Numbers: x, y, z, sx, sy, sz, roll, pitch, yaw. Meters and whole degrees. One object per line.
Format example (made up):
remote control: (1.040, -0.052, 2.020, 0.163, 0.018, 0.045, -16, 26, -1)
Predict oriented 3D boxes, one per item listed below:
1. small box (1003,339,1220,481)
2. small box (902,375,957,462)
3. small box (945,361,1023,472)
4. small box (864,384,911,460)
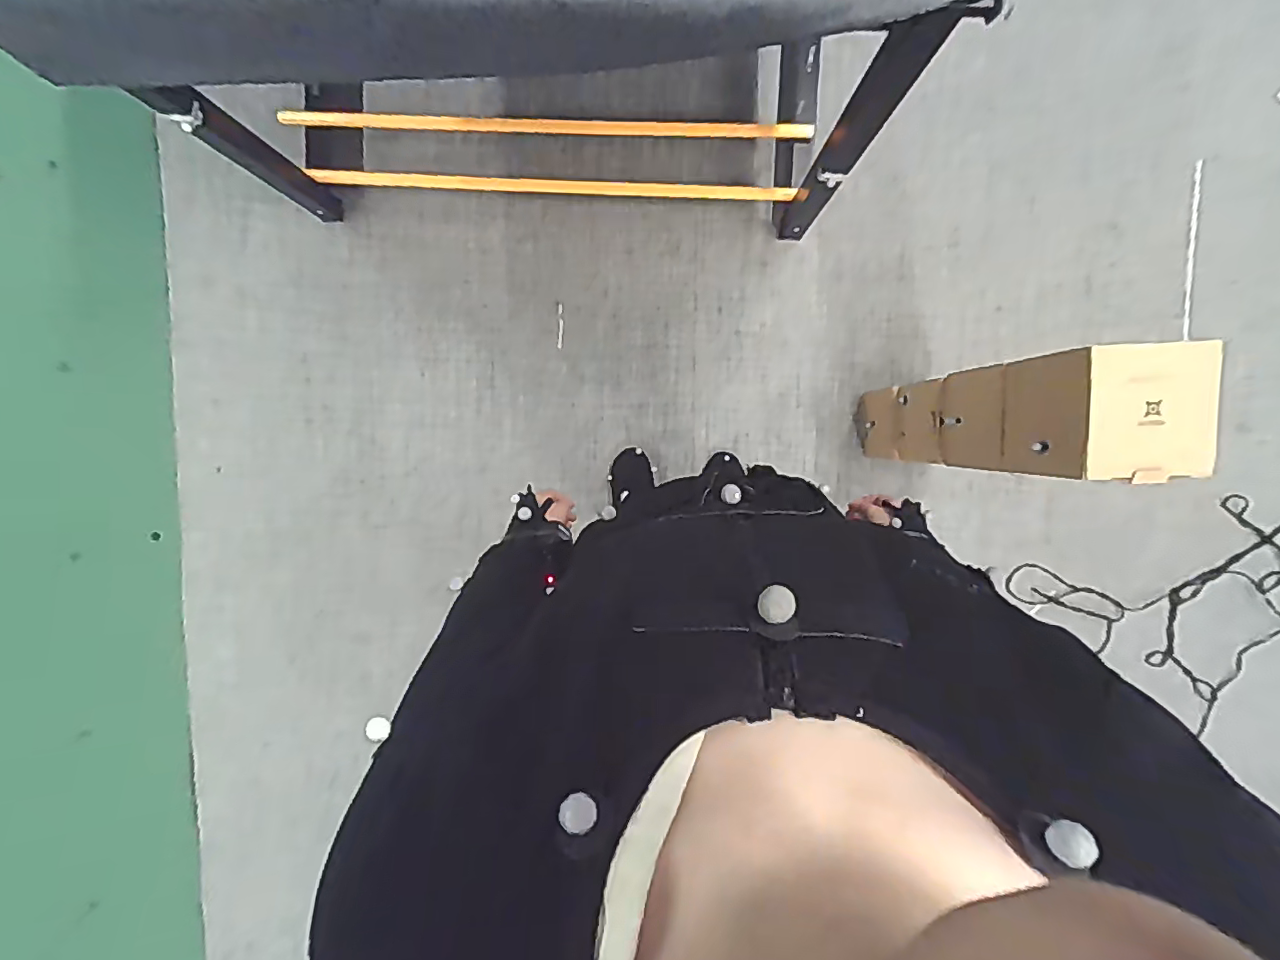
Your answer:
small box: (0.649, -0.095, 0.766, 0.168, 0.176, 0.179, -2, 94, 1)
small box: (0.649, -0.123, 1.091, 0.179, 0.176, 0.168, -3, 95, 0)
small box: (0.649, -0.110, 0.928, 0.168, 0.176, 0.179, -3, 95, 1)
small box: (0.640, -0.136, 1.255, 0.179, 0.176, 0.168, -4, 94, 2)
